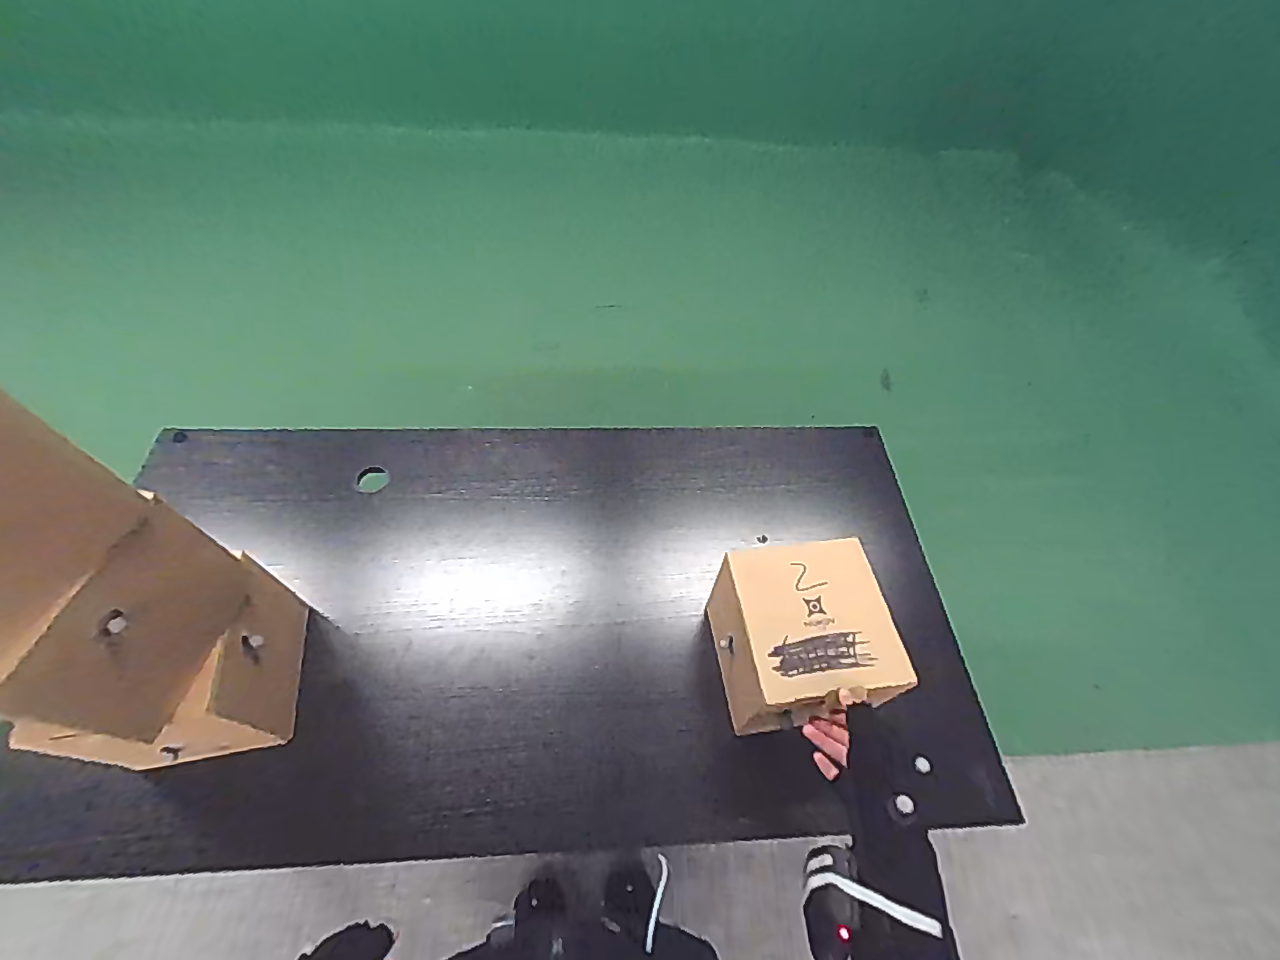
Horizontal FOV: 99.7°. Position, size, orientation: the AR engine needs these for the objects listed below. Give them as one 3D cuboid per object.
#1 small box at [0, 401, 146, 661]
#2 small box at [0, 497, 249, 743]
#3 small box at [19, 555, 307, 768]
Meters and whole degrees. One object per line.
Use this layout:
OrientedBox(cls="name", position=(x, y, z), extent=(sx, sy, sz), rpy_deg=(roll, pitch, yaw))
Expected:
OrientedBox(cls="small box", position=(-0.493, 0.021, 0.344), extent=(0.168, 0.176, 0.179), rpy_deg=(20, 59, 8))
OrientedBox(cls="small box", position=(-0.500, 0.117, 0.477), extent=(0.168, 0.176, 0.179), rpy_deg=(10, 56, 2))
OrientedBox(cls="small box", position=(-0.506, 0.209, 0.613), extent=(0.168, 0.176, 0.179), rpy_deg=(-8, 58, -9))
